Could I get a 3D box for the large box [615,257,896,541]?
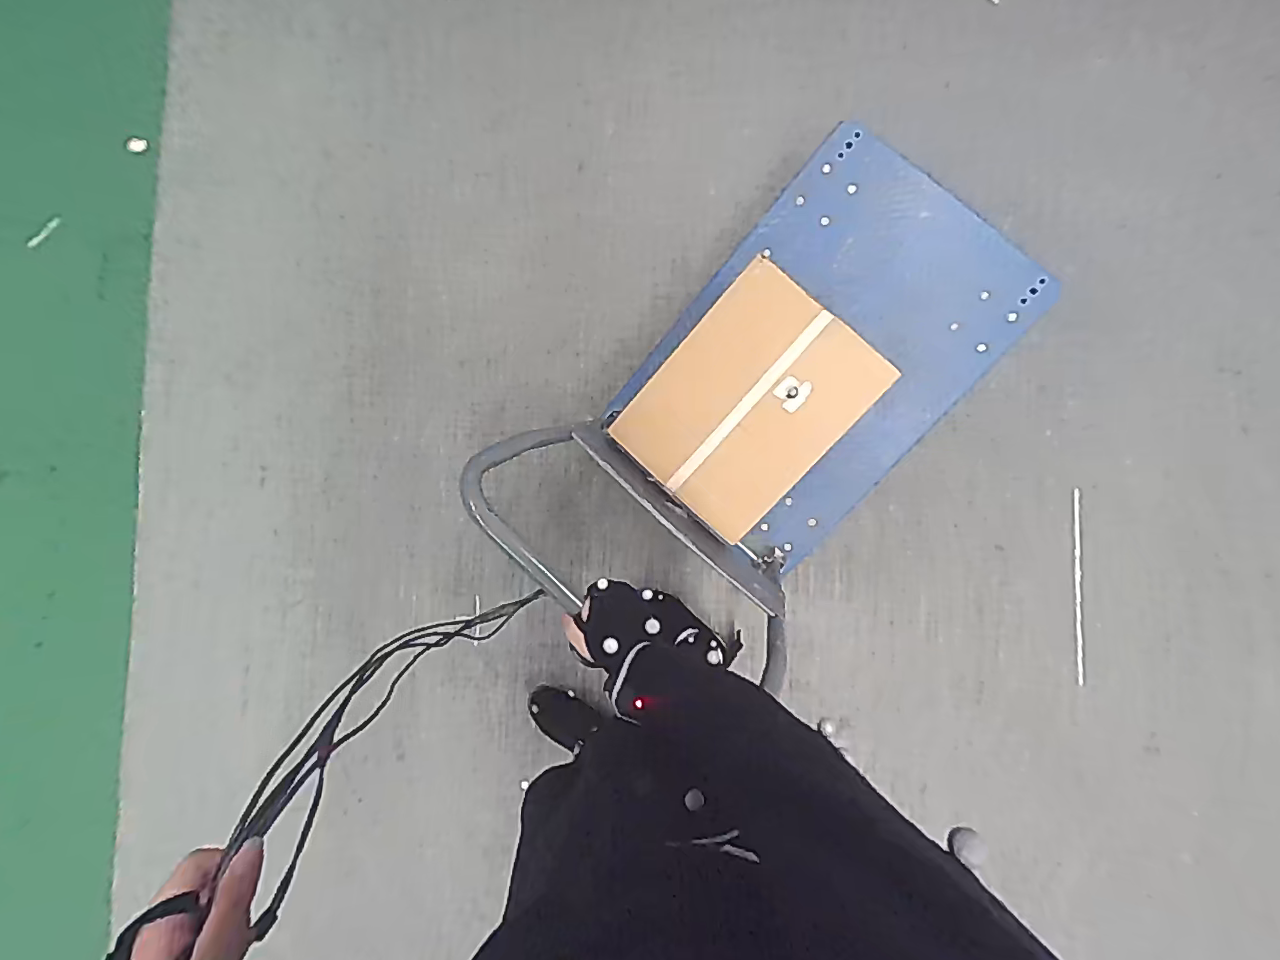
[{"bbox_3d":[0.216,-0.145,1.086,0.320,0.320,0.408,43,101,5],"label":"large box"}]
